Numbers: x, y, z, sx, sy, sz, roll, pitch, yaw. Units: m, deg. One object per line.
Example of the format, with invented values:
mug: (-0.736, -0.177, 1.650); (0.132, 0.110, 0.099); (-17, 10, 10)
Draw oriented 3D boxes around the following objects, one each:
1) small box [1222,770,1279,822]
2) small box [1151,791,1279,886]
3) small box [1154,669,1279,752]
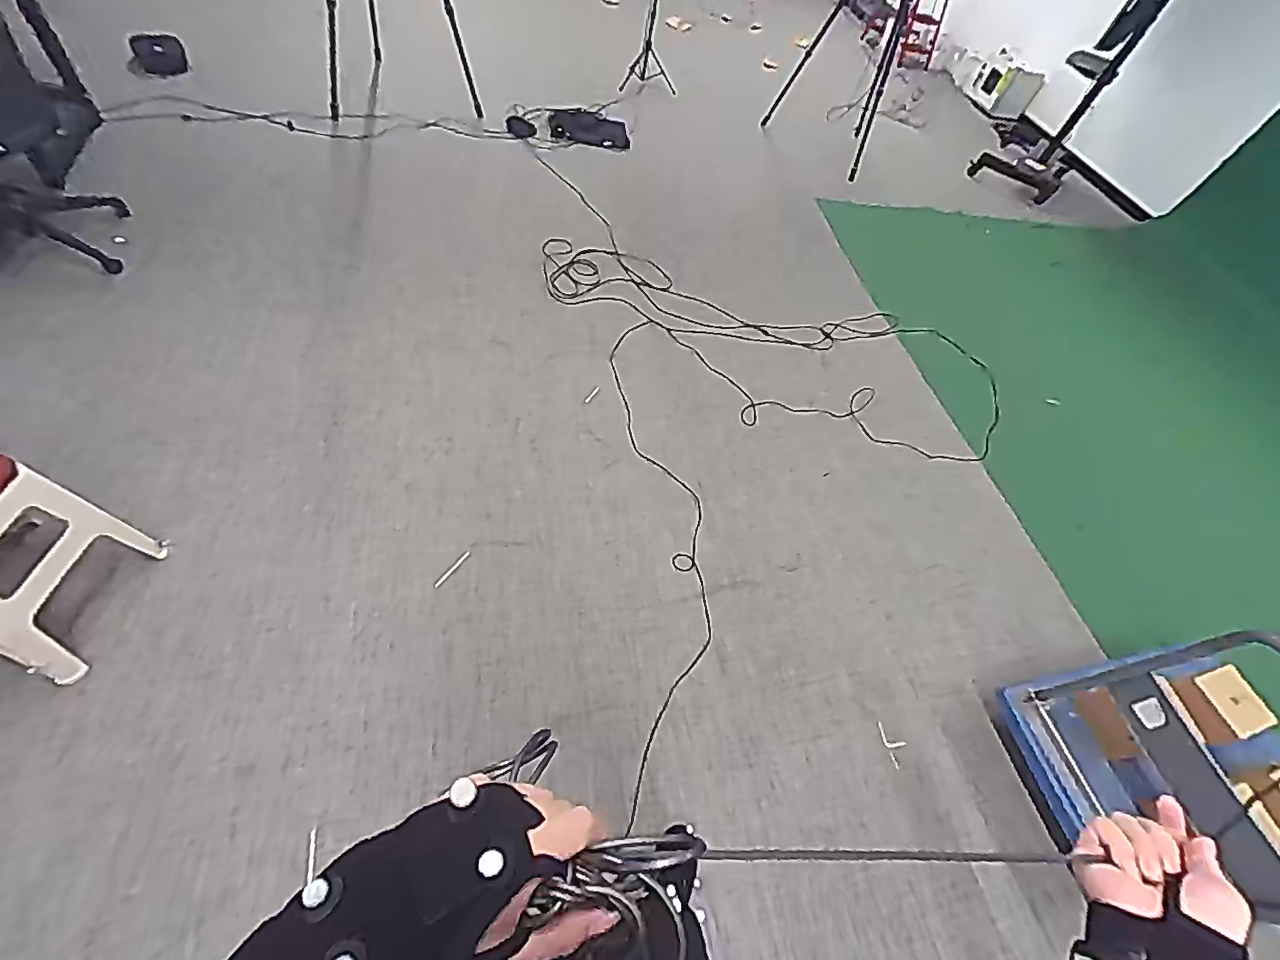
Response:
small box: (1.721, 0.870, 1.423); (0.179, 0.176, 0.168); (-8, 57, -16)
small box: (1.461, 0.891, 1.352); (0.179, 0.176, 0.168); (-4, 56, -14)
small box: (1.649, 0.666, 1.552); (0.179, 0.176, 0.168); (-8, 58, -17)
